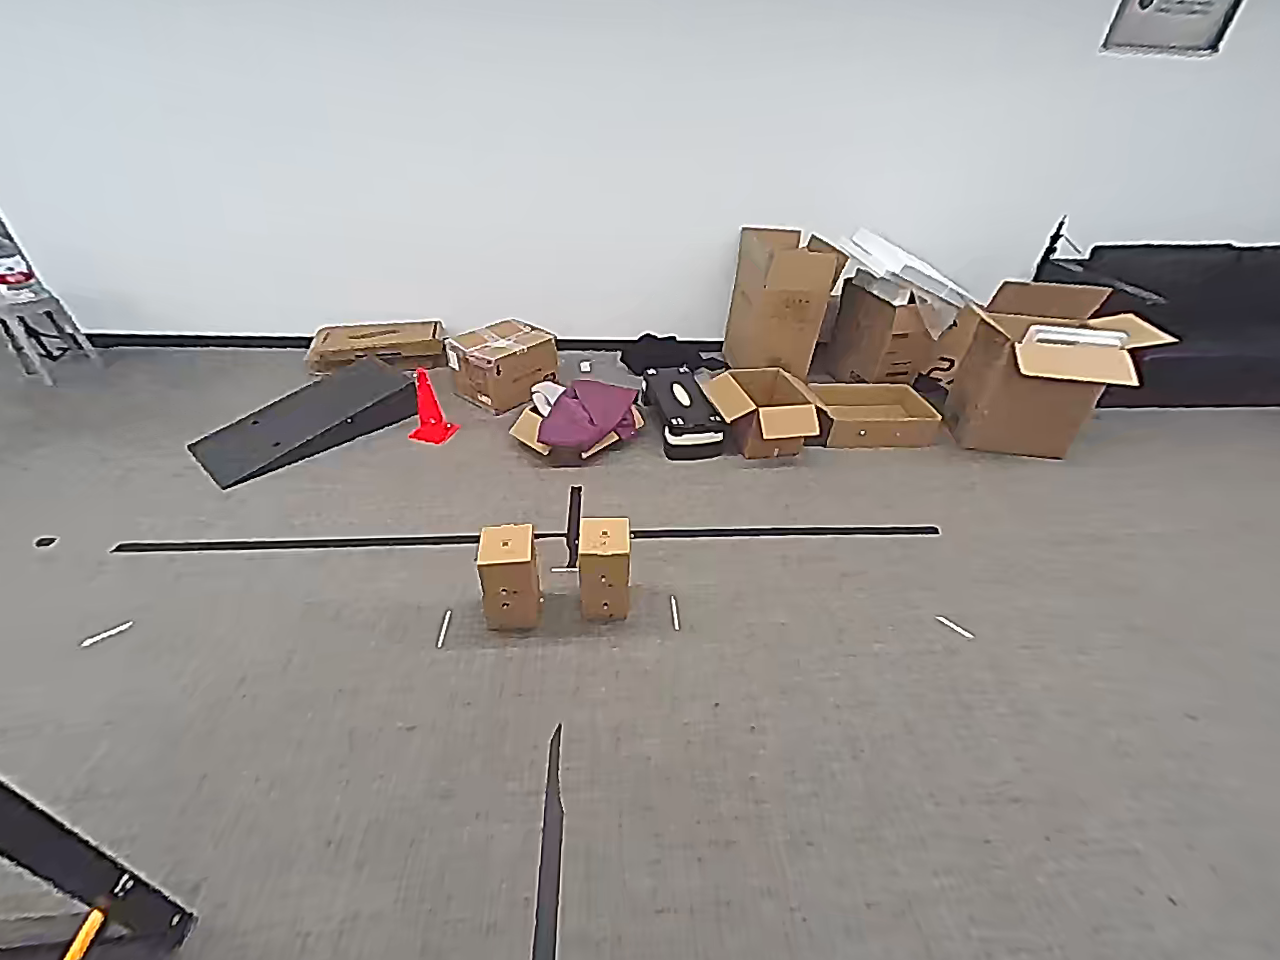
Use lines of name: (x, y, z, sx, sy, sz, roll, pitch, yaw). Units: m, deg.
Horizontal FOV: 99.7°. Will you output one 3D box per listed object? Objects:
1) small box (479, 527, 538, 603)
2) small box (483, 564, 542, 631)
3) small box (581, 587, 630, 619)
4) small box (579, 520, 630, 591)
small box: (-0.427, 0.279, 1.779, 0.168, 0.176, 0.179, -5, 38, -7)
small box: (-0.437, 0.408, 1.877, 0.179, 0.176, 0.168, -2, 37, -6)
small box: (-0.122, 0.384, 1.933, 0.168, 0.176, 0.179, -1, 37, -5)
small box: (-0.119, 0.255, 1.829, 0.168, 0.176, 0.179, 0, 37, -3)
